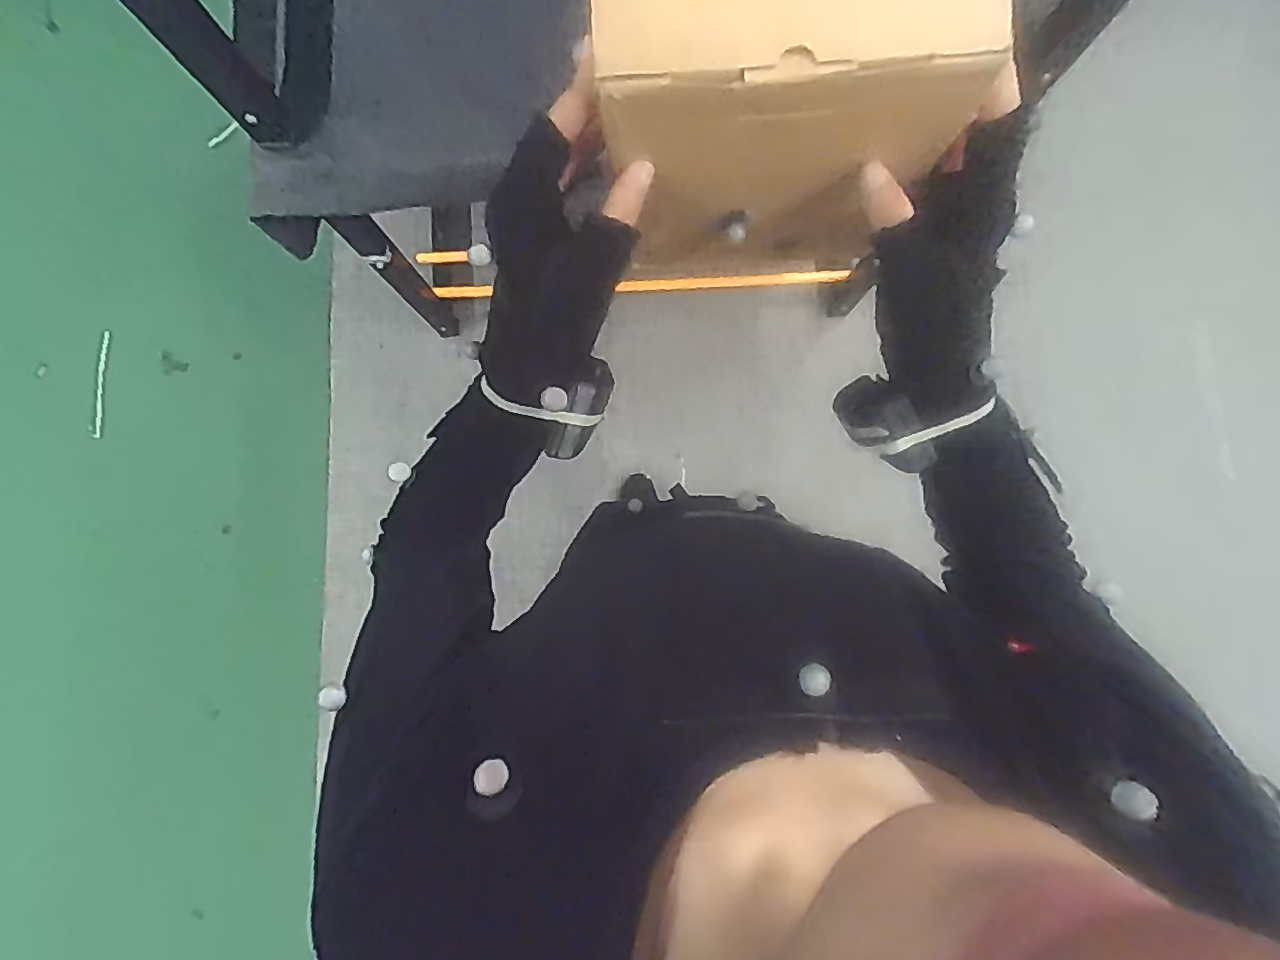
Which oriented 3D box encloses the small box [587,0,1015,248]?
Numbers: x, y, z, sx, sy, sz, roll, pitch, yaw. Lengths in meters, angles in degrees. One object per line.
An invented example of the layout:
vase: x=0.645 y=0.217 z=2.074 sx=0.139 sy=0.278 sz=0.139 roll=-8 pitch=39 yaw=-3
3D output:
small box: x=0.065 y=-0.252 z=0.294 sx=0.168 sy=0.176 sz=0.179 roll=-1 pitch=87 yaw=4
